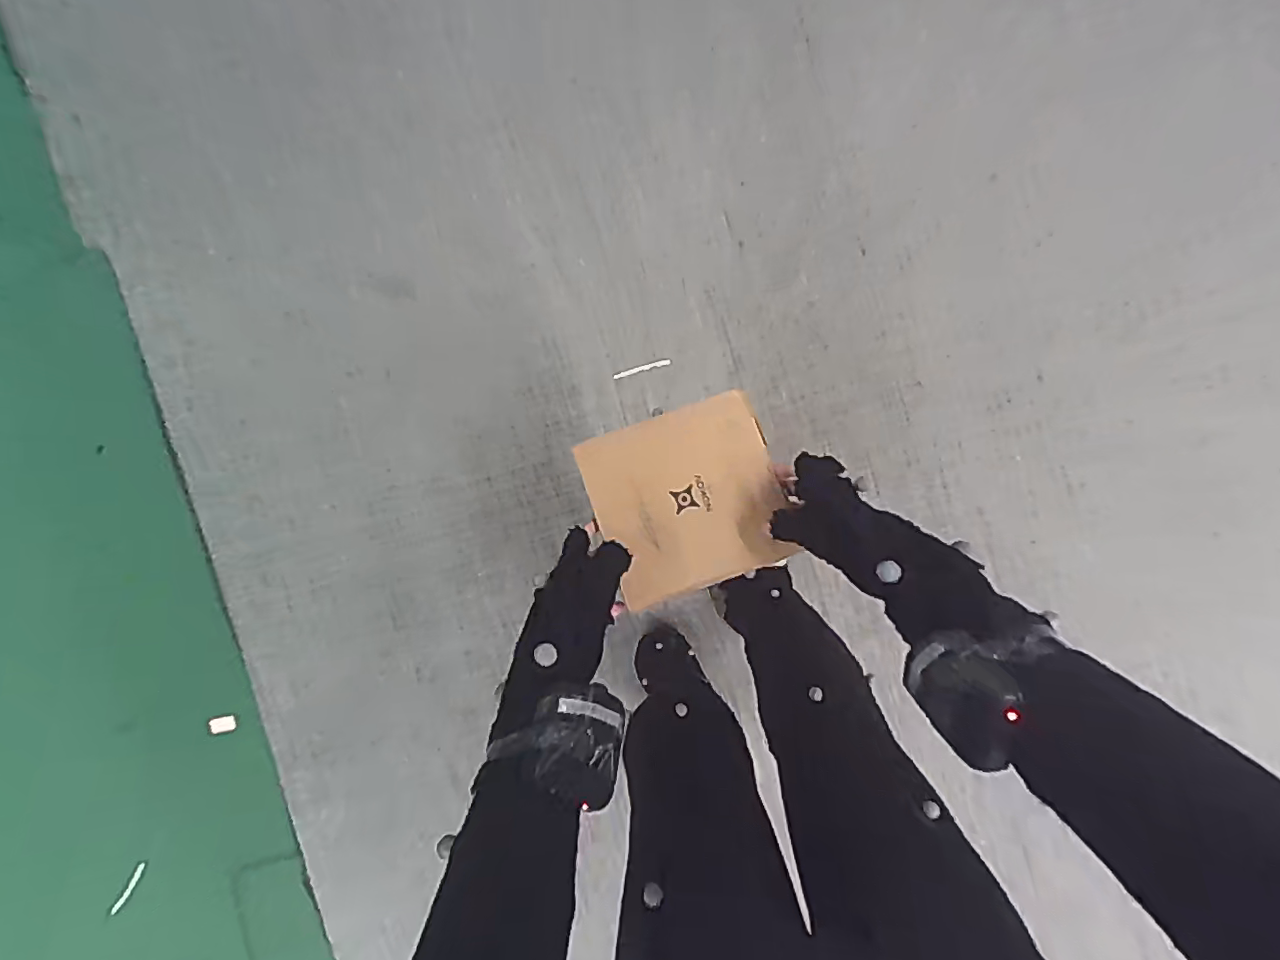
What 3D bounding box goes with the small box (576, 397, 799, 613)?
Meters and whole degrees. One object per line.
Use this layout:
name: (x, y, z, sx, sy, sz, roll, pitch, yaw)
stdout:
small box: (0.044, 0.028, 0.592, 0.179, 0.176, 0.168, -20, 84, -1)
